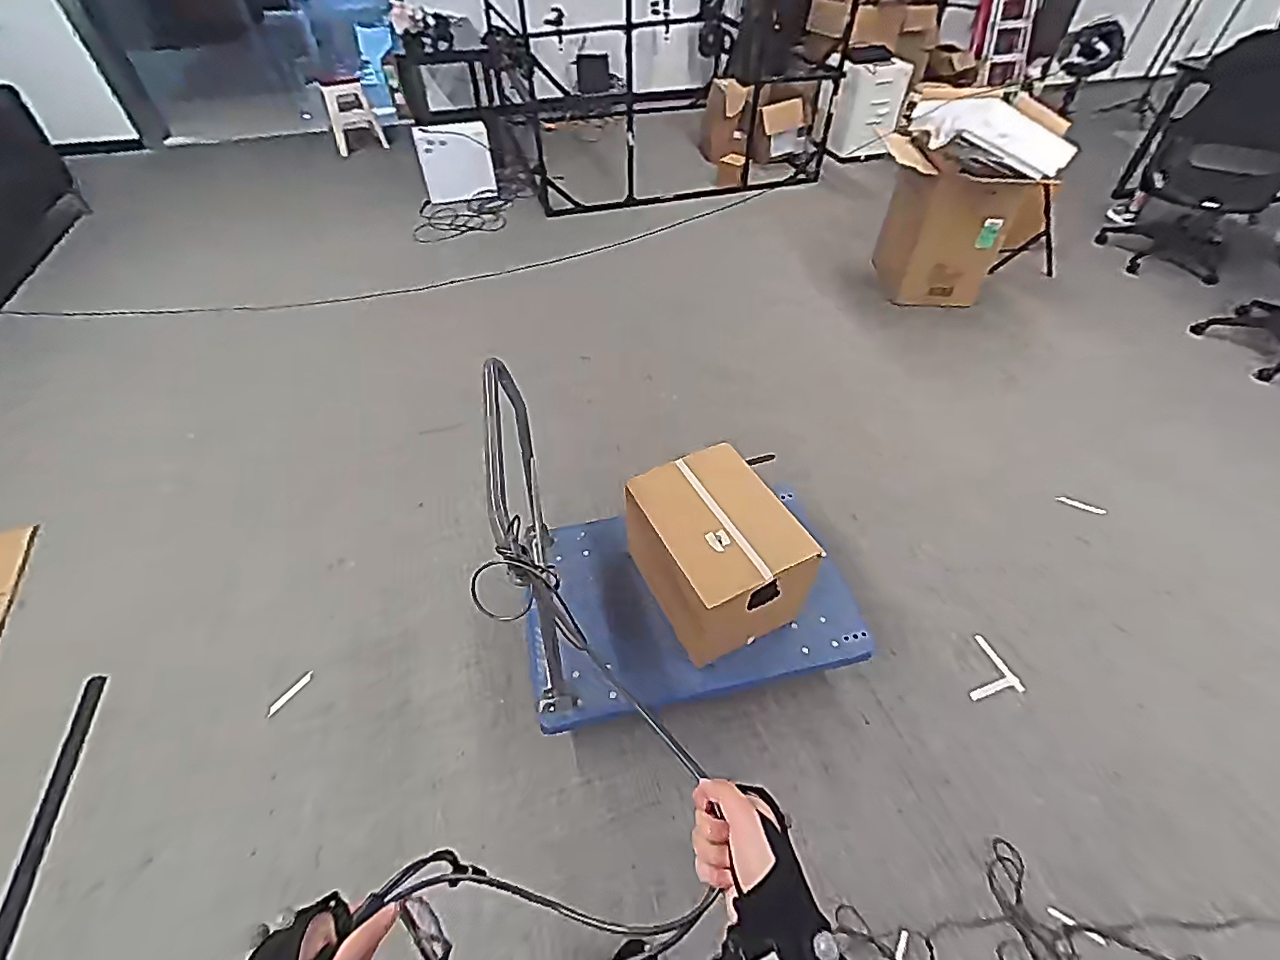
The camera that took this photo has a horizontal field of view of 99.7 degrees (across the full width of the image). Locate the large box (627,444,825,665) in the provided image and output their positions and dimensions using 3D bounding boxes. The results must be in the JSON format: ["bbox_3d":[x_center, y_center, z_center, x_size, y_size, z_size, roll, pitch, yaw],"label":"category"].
[{"bbox_3d":[0.190,0.183,1.390,0.320,0.320,0.408,-22,53,-17],"label":"large box"}]
